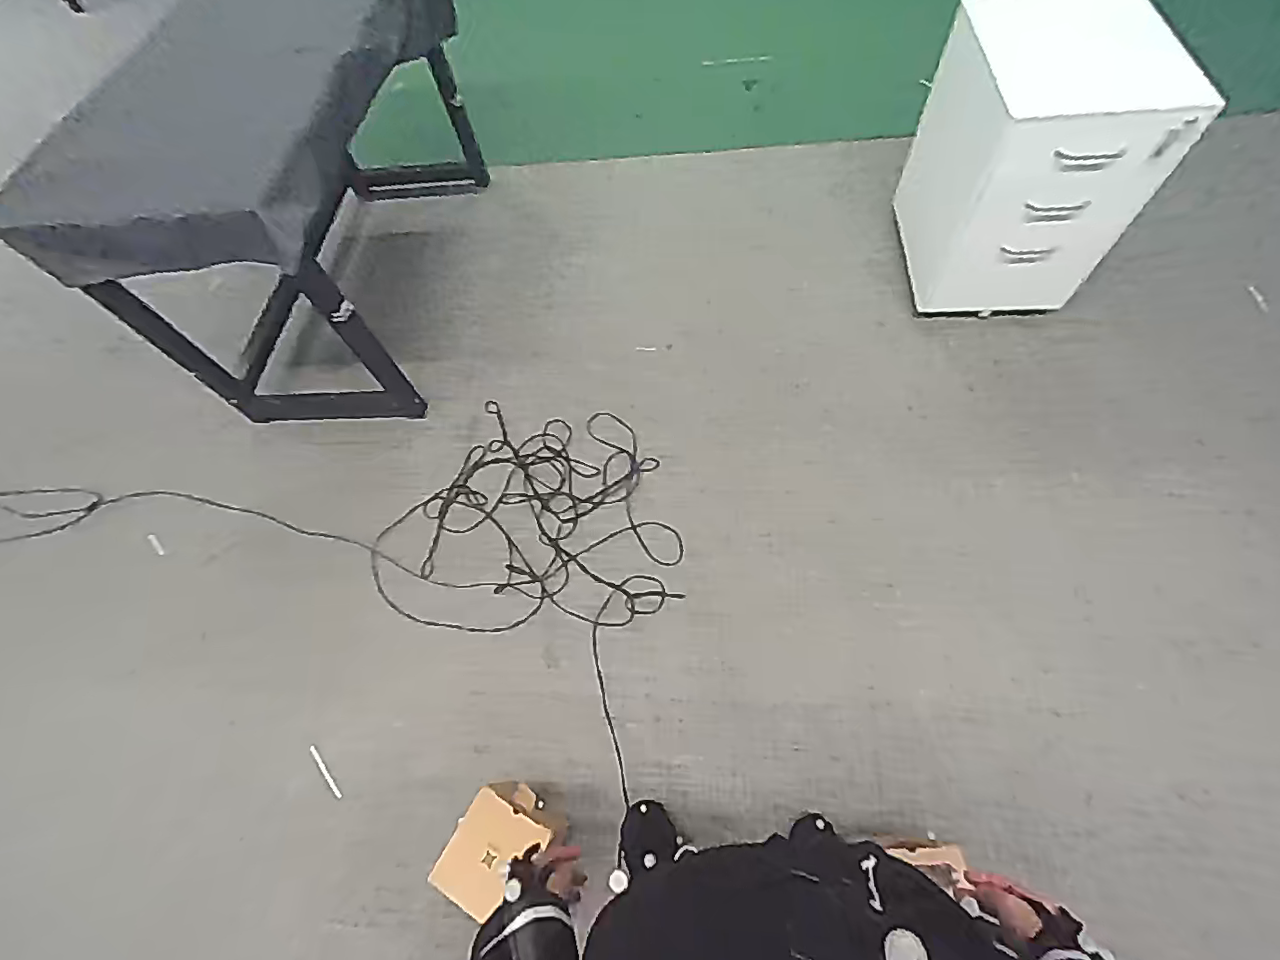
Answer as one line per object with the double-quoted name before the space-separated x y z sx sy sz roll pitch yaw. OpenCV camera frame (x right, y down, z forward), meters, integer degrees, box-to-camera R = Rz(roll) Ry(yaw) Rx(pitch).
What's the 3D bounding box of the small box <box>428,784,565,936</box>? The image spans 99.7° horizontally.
"small box" -0.265 0.721 1.049 0.168 0.176 0.179 24 67 17
